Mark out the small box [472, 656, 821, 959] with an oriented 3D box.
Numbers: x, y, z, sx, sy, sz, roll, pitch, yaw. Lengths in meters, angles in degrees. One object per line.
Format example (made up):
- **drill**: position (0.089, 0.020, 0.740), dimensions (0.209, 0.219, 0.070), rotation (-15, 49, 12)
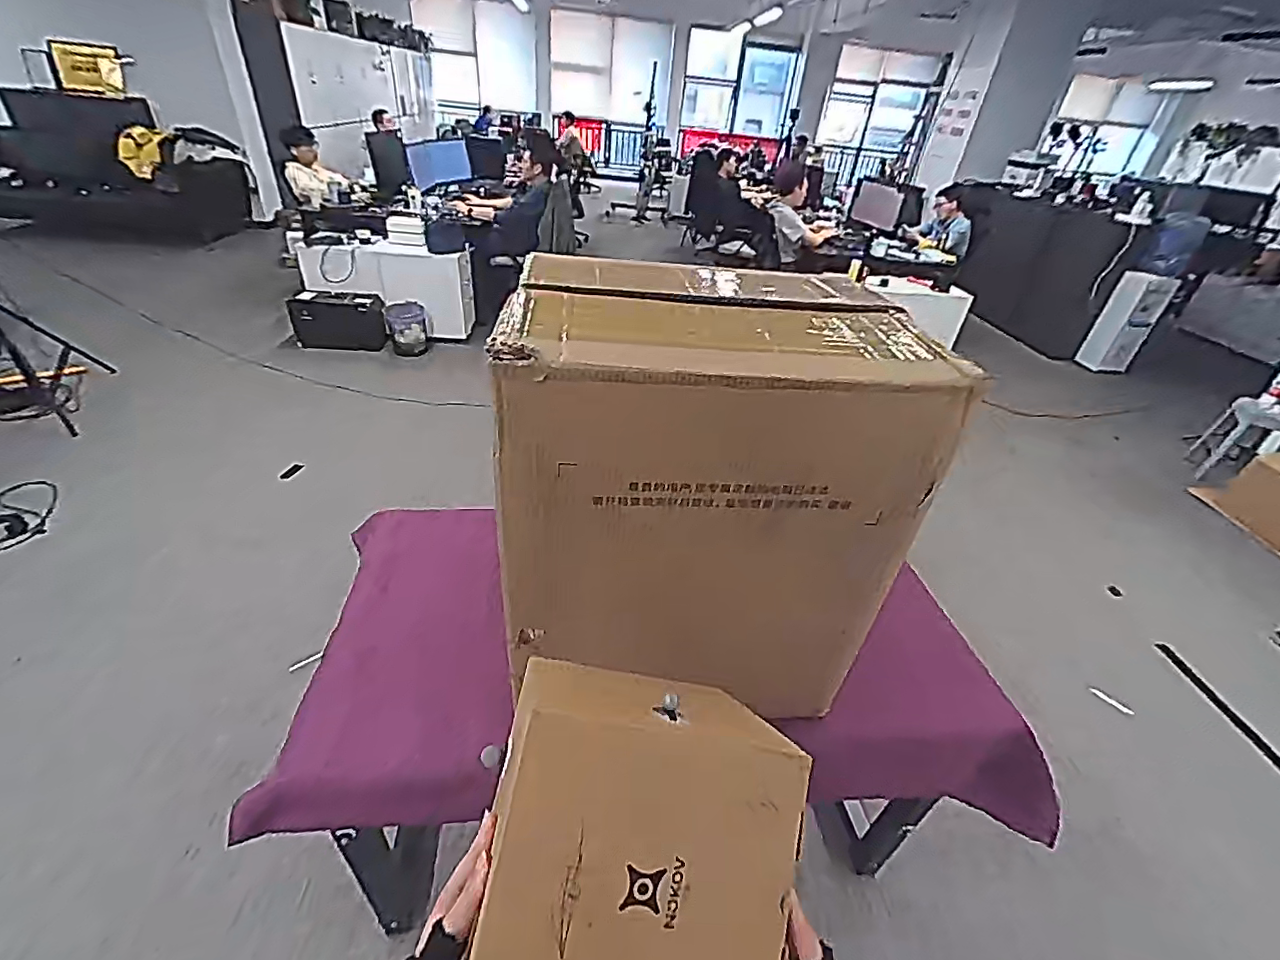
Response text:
- **small box**: position (-0.006, 0.227, 0.371), dimensions (0.179, 0.176, 0.168), rotation (12, 79, -9)
